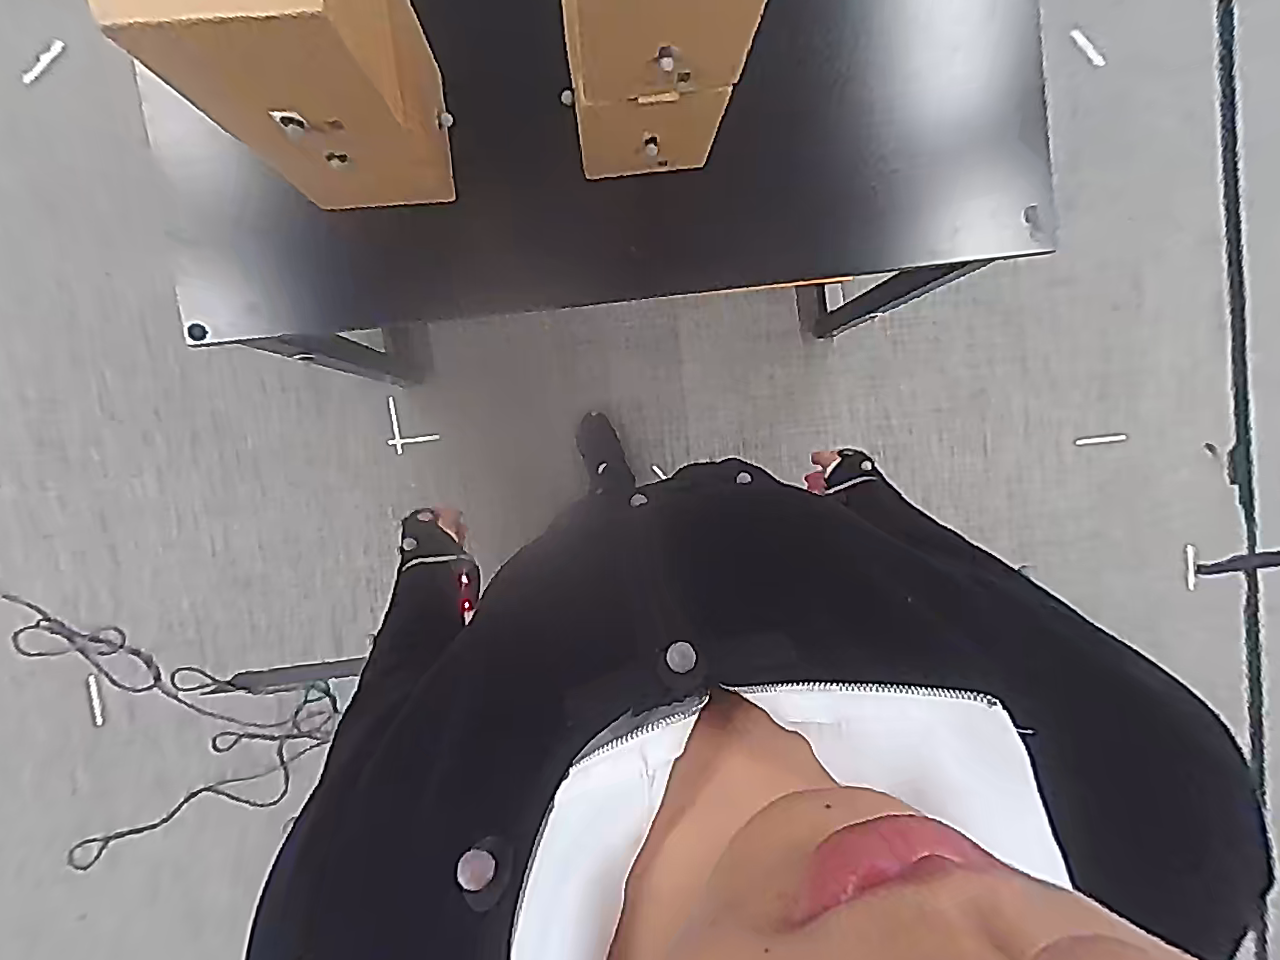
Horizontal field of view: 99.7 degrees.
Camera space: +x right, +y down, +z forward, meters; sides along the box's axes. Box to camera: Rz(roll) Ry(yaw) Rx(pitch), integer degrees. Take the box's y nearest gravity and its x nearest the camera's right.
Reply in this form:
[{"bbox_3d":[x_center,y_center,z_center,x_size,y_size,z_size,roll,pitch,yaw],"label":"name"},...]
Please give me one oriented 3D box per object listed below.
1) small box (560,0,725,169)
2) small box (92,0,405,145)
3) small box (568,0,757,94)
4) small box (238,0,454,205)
[{"bbox_3d":[-0.003,-0.501,0.652,0.168,0.176,0.179,-9,94,-3],"label":"small box"},{"bbox_3d":[-0.325,-0.429,0.469,0.168,0.176,0.179,-7,95,-2],"label":"small box"},{"bbox_3d":[0.011,-0.496,0.486,0.168,0.176,0.179,-9,94,-3],"label":"small box"},{"bbox_3d":[-0.335,-0.441,0.630,0.179,0.176,0.168,-6,94,-5],"label":"small box"}]
